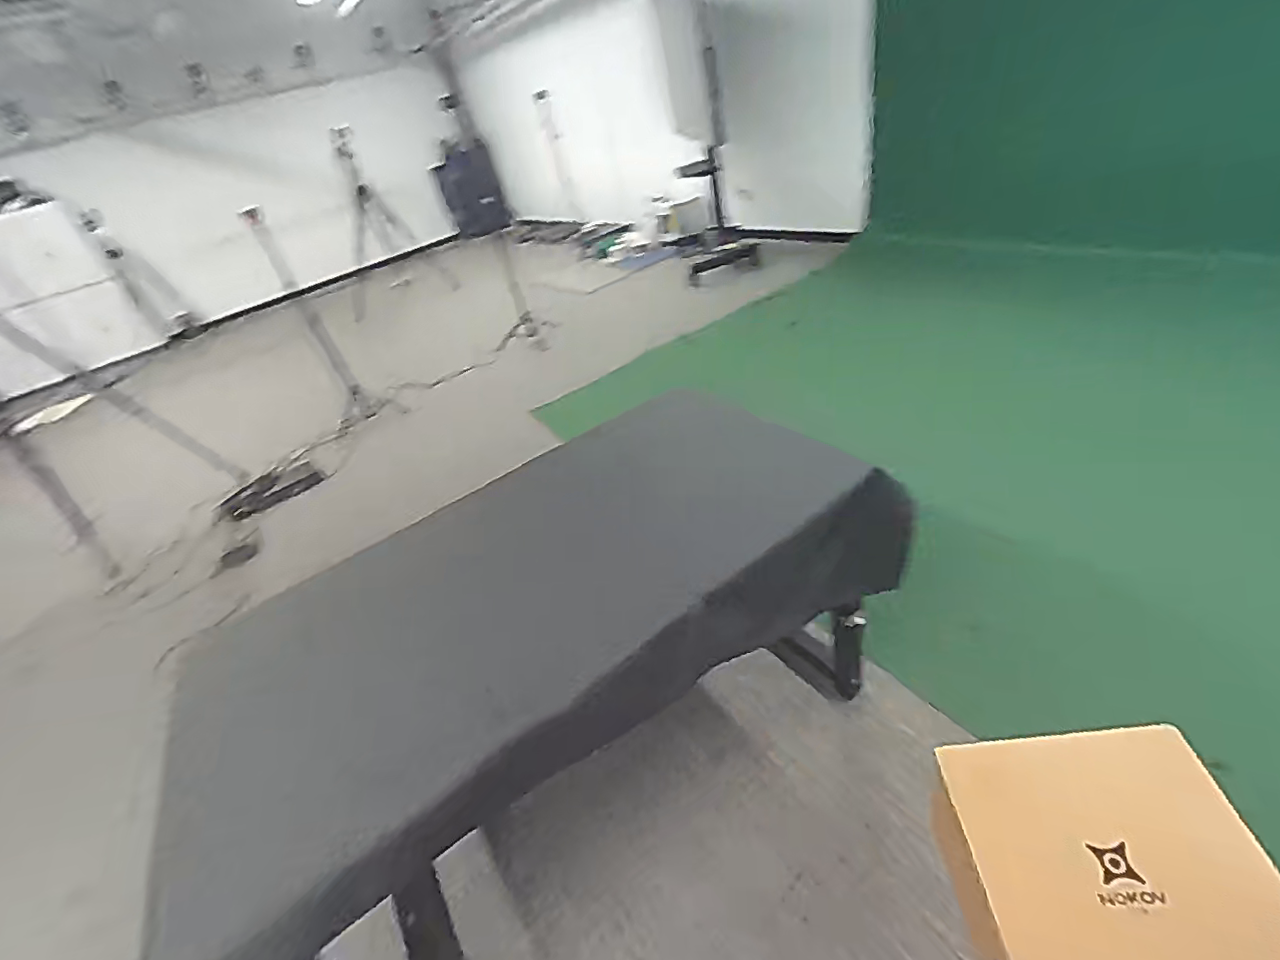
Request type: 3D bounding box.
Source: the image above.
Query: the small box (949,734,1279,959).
[{"bbox_3d":[0.339,0.310,0.387,0.168,0.176,0.179,-12,39,14],"label":"small box"}]
